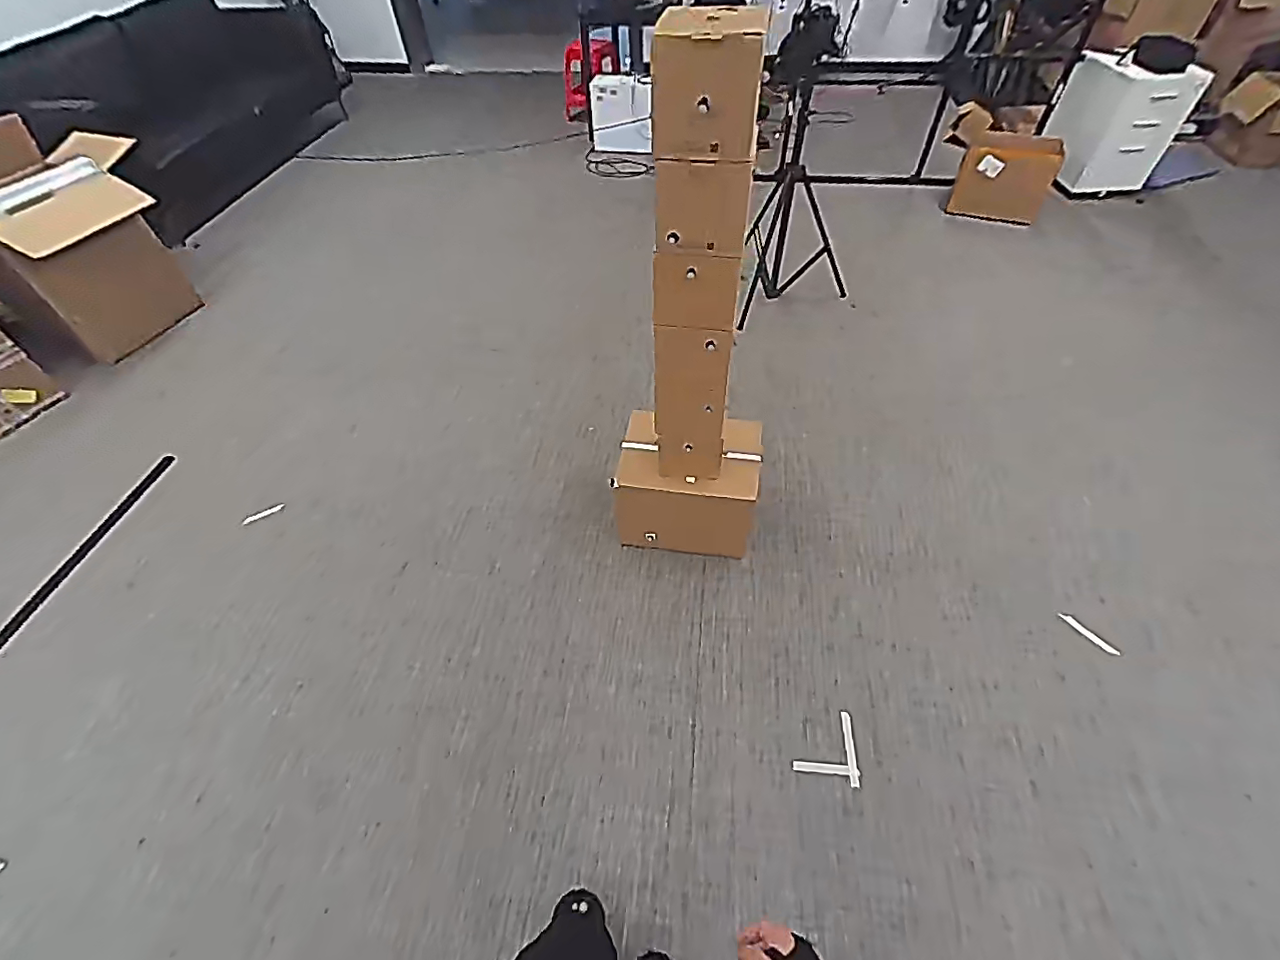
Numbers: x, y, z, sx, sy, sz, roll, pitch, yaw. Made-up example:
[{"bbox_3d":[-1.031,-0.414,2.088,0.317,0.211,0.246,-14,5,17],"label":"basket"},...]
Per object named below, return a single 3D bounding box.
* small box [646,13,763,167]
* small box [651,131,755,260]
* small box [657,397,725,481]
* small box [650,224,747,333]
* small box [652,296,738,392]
[{"bbox_3d":[0.107,-0.638,0.891,0.168,0.176,0.179,6,52,8],"label":"small box"},{"bbox_3d":[0.120,-0.534,1.018,0.168,0.176,0.179,7,51,9],"label":"small box"},{"bbox_3d":[0.141,-0.113,1.519,0.179,0.176,0.168,5,52,5],"label":"small box"},{"bbox_3d":[0.123,-0.429,1.144,0.179,0.176,0.168,7,52,9],"label":"small box"},{"bbox_3d":[0.128,-0.325,1.268,0.179,0.176,0.168,7,51,8],"label":"small box"}]
